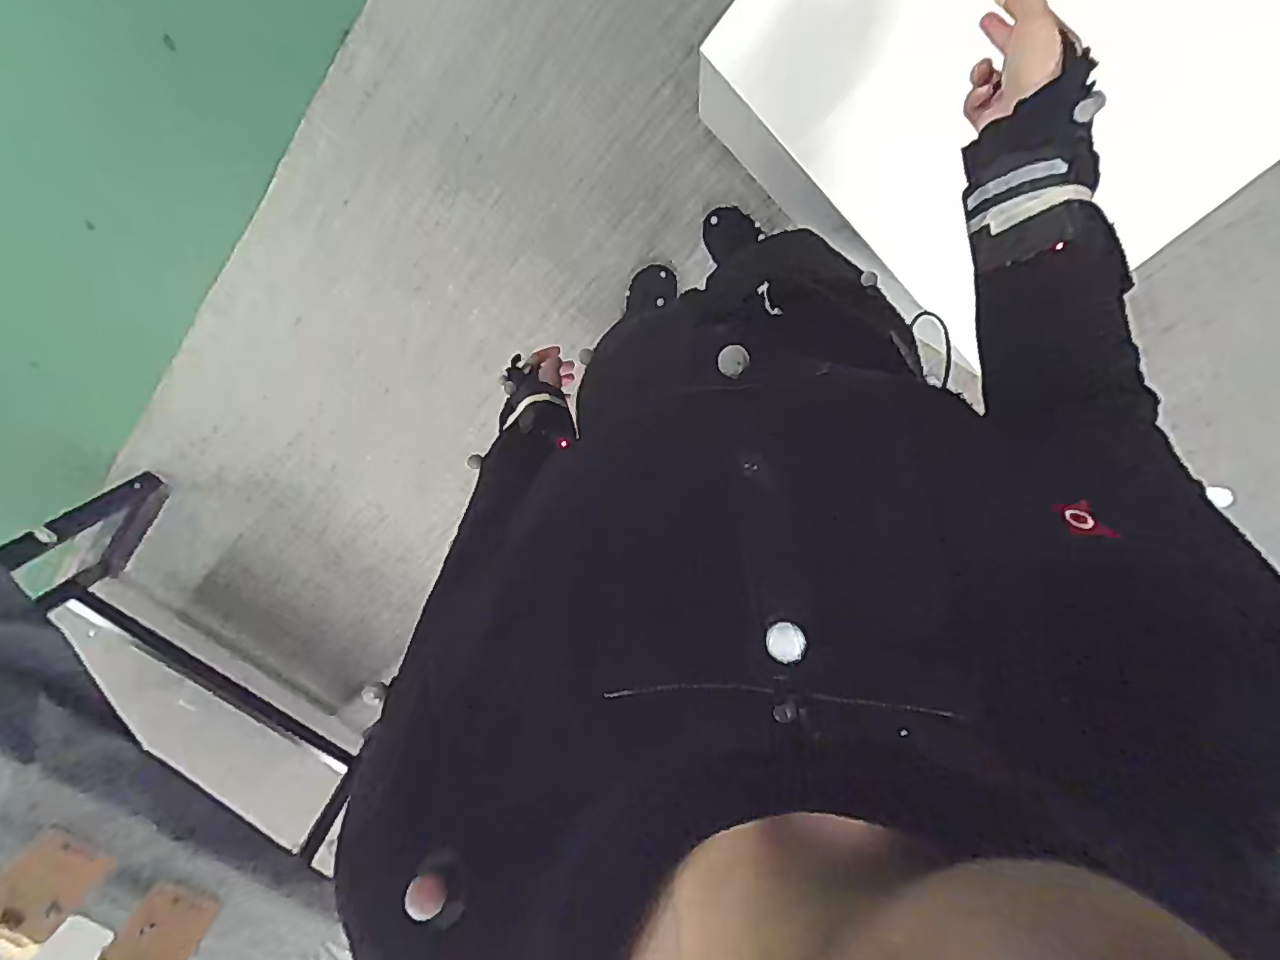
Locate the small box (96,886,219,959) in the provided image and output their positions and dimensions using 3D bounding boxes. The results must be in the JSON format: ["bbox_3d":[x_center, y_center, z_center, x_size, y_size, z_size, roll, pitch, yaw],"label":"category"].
[{"bbox_3d":[-1.131,1.087,1.256,0.168,0.176,0.179,34,118,-10],"label":"small box"}]
